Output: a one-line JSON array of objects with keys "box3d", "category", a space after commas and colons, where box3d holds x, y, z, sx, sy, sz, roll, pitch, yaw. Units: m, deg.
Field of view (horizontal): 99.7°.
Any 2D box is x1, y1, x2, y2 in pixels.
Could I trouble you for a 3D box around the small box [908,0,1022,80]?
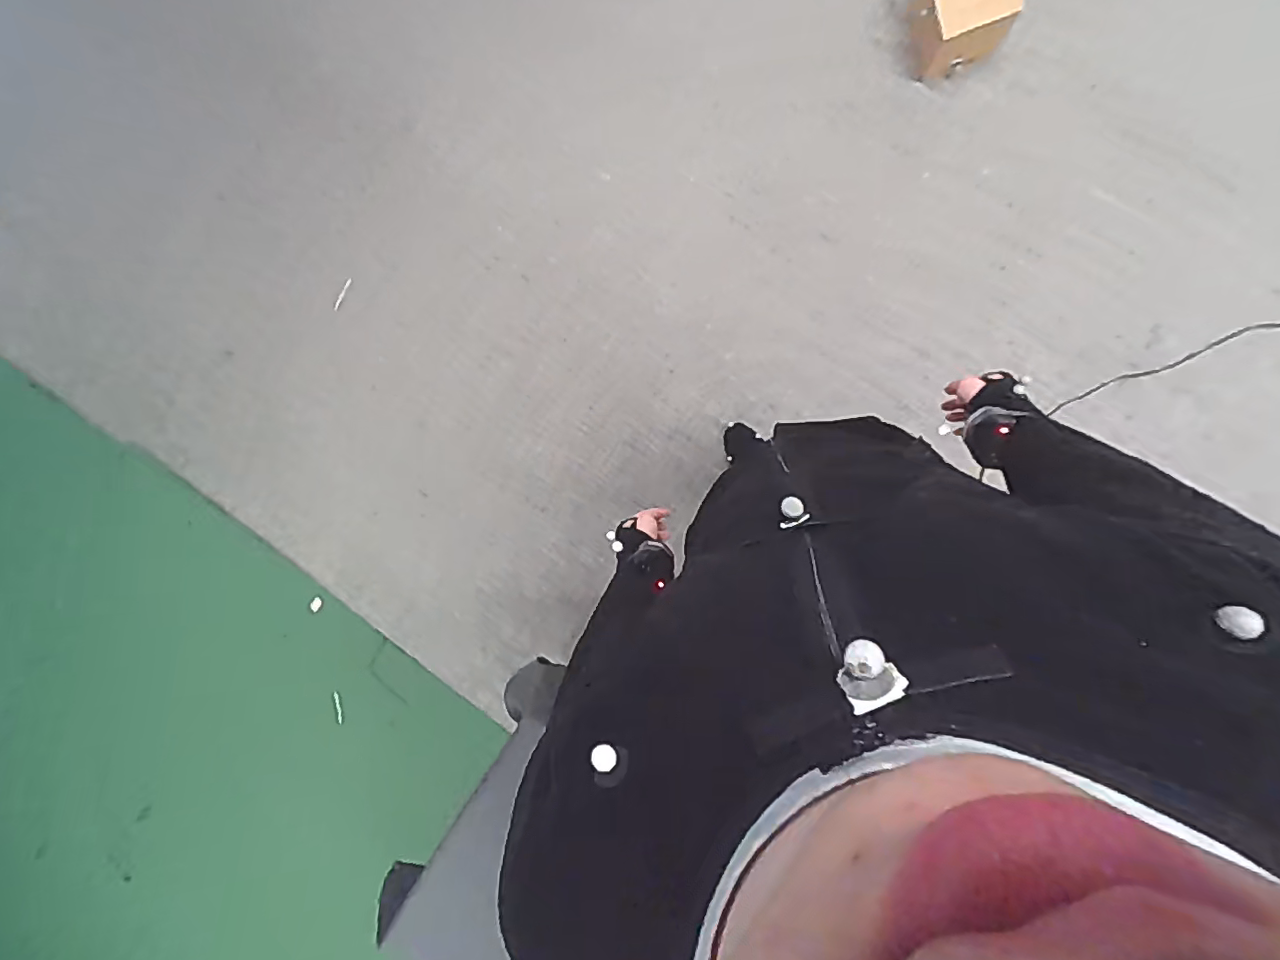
[{"box3d": [0.741, -1.088, 1.253, 0.168, 0.176, 0.179, -14, 94, 14], "category": "small box"}]
